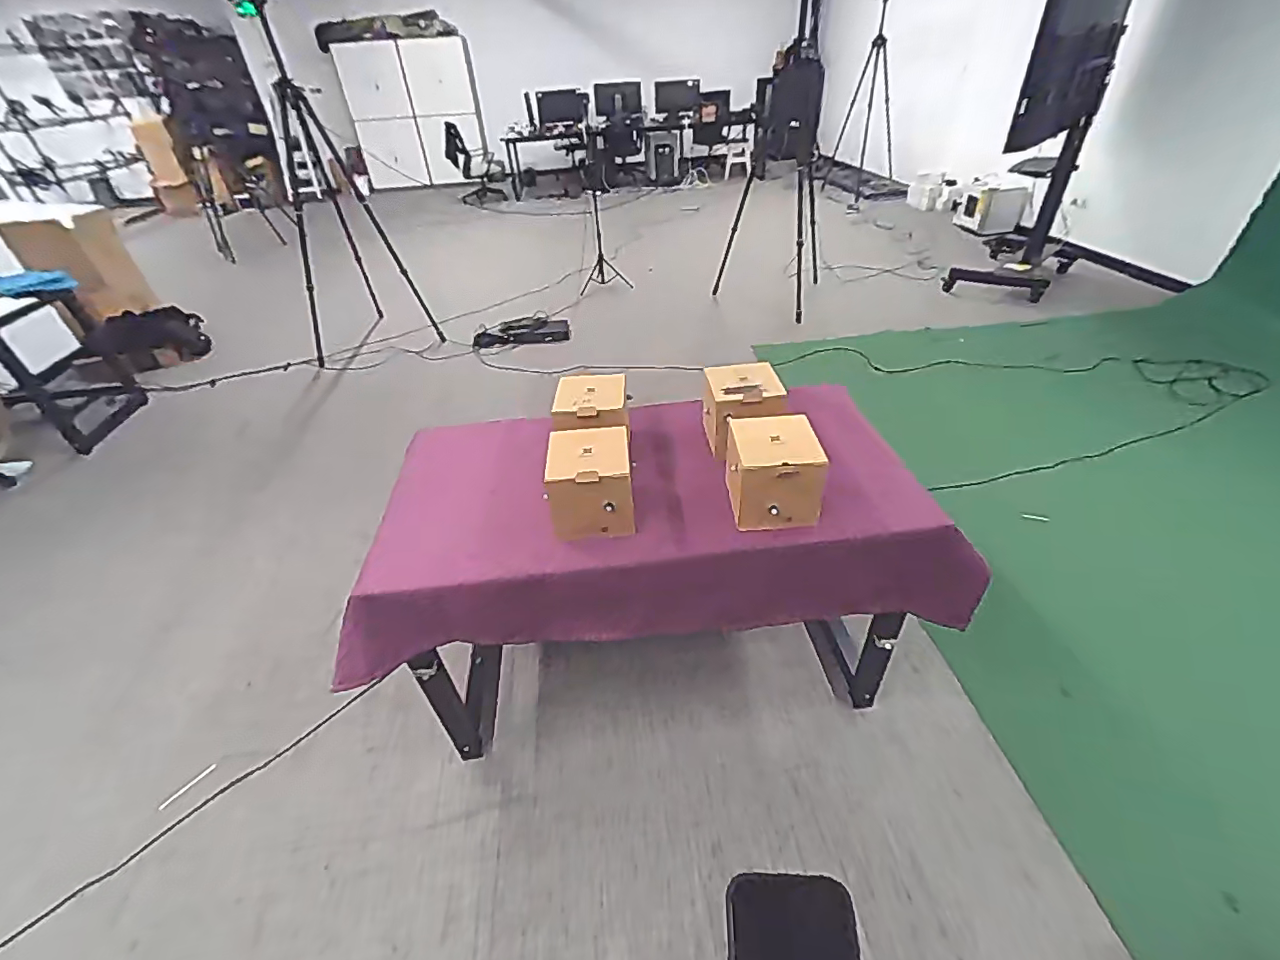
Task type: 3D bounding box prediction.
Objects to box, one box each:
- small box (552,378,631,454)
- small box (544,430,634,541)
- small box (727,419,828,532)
[{"bbox_3d":[-0.112,-0.136,1.338,0.168,0.176,0.179,-3,38,3],"label":"small box"},{"bbox_3d":[-0.101,0.016,1.144,0.168,0.176,0.179,-4,37,-1],"label":"small box"},{"bbox_3d":[0.278,-0.010,1.137,0.168,0.176,0.179,-4,38,1],"label":"small box"}]
